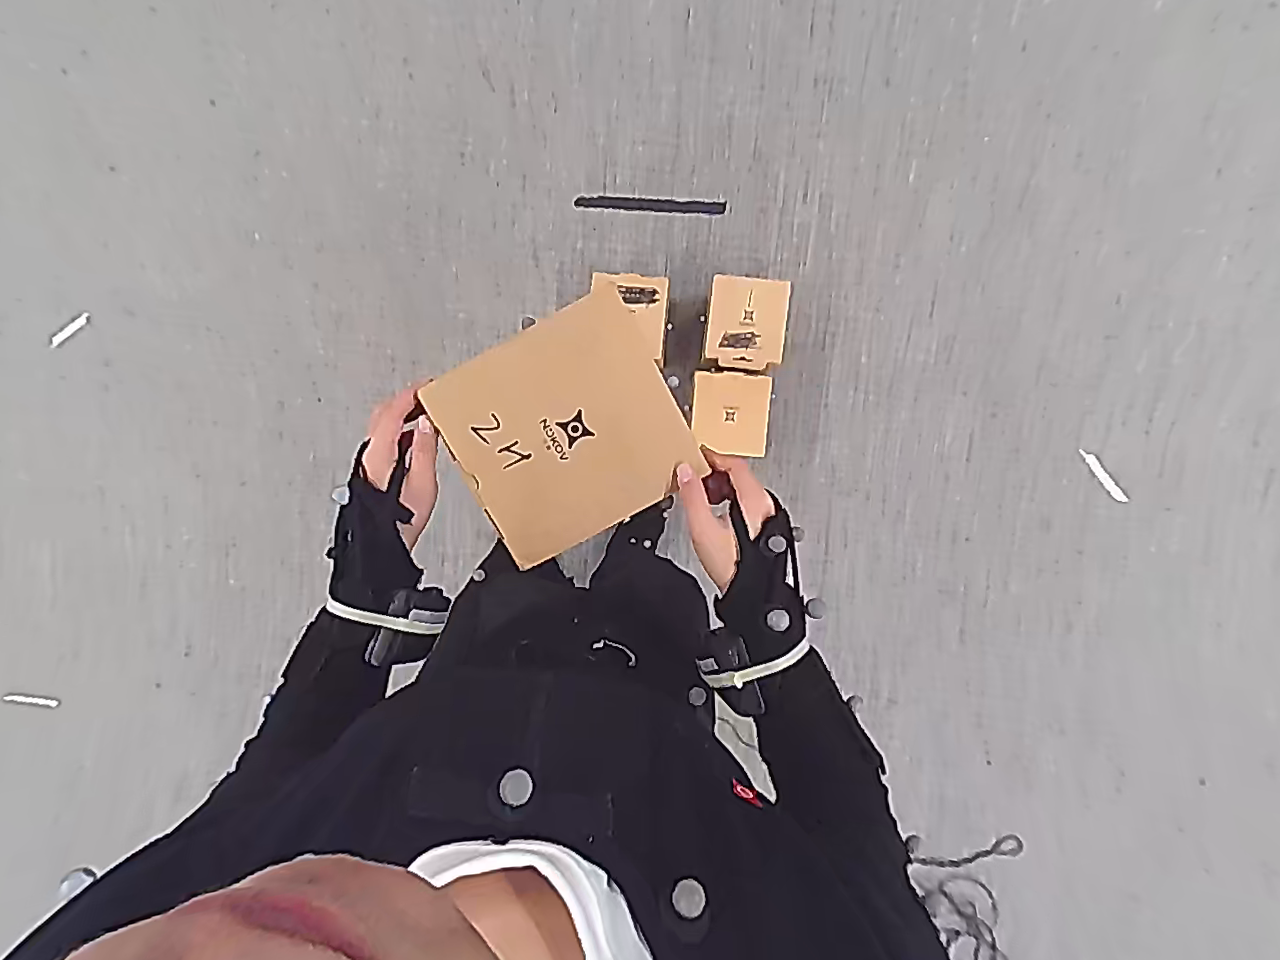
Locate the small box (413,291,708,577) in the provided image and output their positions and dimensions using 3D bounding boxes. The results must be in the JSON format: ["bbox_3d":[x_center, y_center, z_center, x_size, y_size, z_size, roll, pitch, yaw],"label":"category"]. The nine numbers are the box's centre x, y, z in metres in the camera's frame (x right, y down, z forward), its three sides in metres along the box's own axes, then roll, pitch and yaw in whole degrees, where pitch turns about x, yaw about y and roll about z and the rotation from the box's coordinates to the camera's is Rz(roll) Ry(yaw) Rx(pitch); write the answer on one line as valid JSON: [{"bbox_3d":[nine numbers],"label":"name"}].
[{"bbox_3d":[-0.060,-0.044,0.489,0.179,0.176,0.168,-28,98,4],"label":"small box"}]
